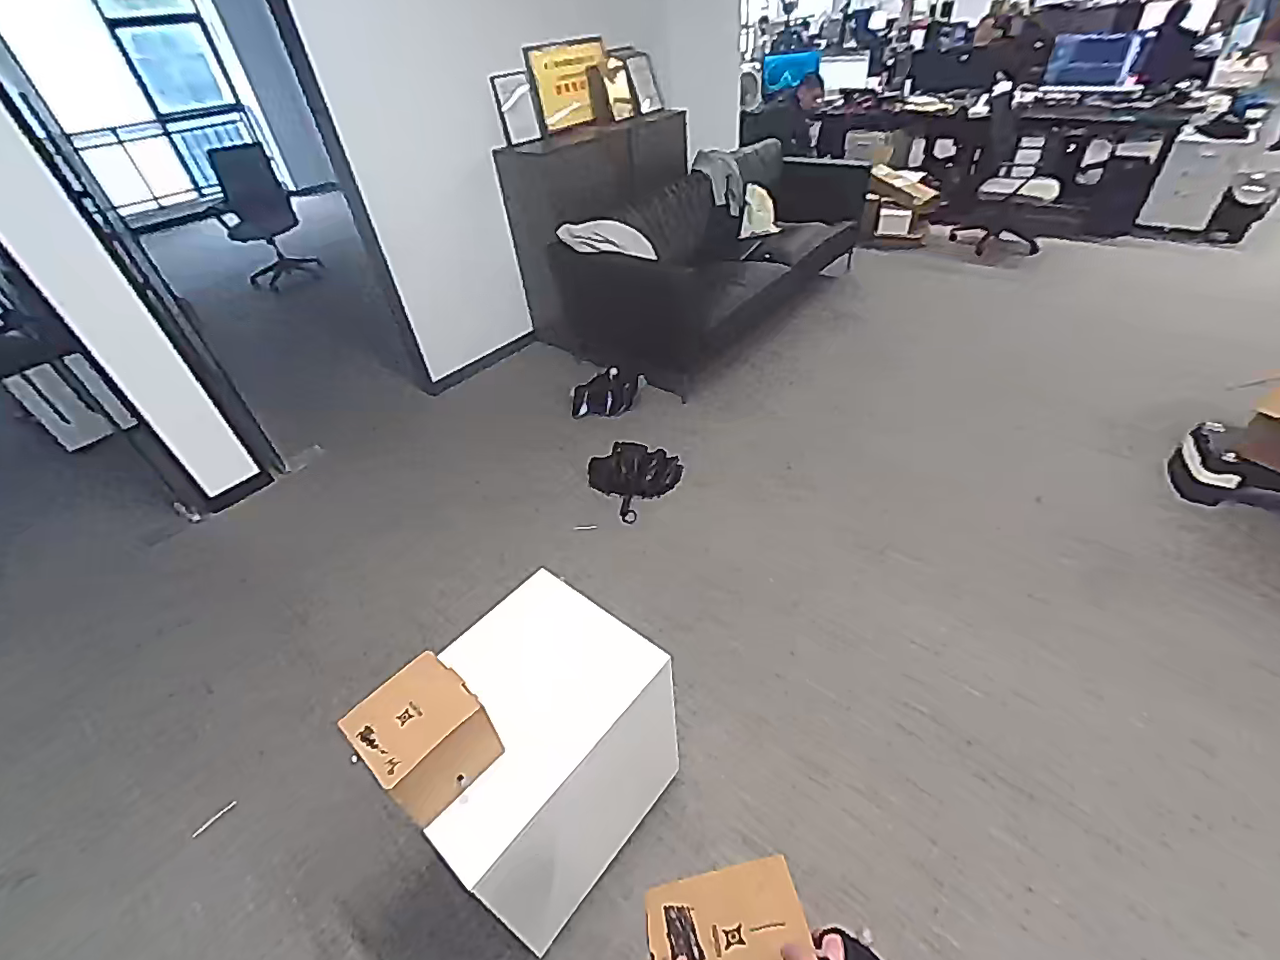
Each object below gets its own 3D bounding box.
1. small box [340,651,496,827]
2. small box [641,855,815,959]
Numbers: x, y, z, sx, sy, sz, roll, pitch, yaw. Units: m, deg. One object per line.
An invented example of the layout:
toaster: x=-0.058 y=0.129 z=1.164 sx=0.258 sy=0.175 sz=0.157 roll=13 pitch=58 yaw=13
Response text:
small box: x=-0.366 y=0.440 z=0.927 sx=0.168 sy=0.176 sz=0.179 roll=27 pitch=49 yaw=33
small box: x=0.107 y=0.558 z=0.577 sx=0.179 sy=0.176 sz=0.168 roll=-15 pitch=8 yaw=0
